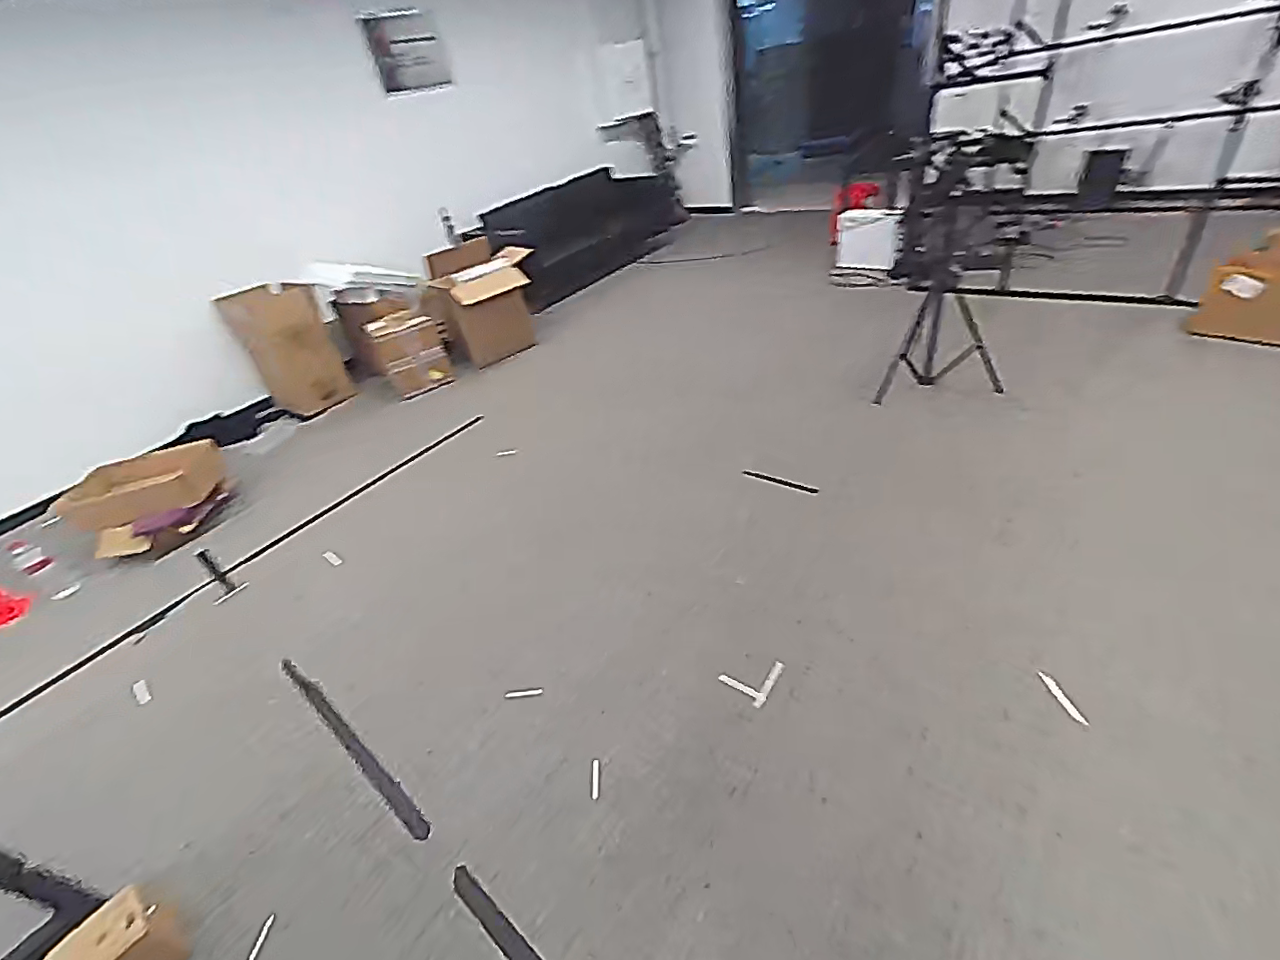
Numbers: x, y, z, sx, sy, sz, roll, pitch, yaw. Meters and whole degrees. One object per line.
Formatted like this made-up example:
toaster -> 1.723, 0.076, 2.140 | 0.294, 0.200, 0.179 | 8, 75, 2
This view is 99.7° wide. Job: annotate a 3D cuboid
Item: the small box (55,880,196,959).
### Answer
small box -> -1.247, 1.141, 1.318 | 0.168, 0.176, 0.179 | 19, 47, 35
